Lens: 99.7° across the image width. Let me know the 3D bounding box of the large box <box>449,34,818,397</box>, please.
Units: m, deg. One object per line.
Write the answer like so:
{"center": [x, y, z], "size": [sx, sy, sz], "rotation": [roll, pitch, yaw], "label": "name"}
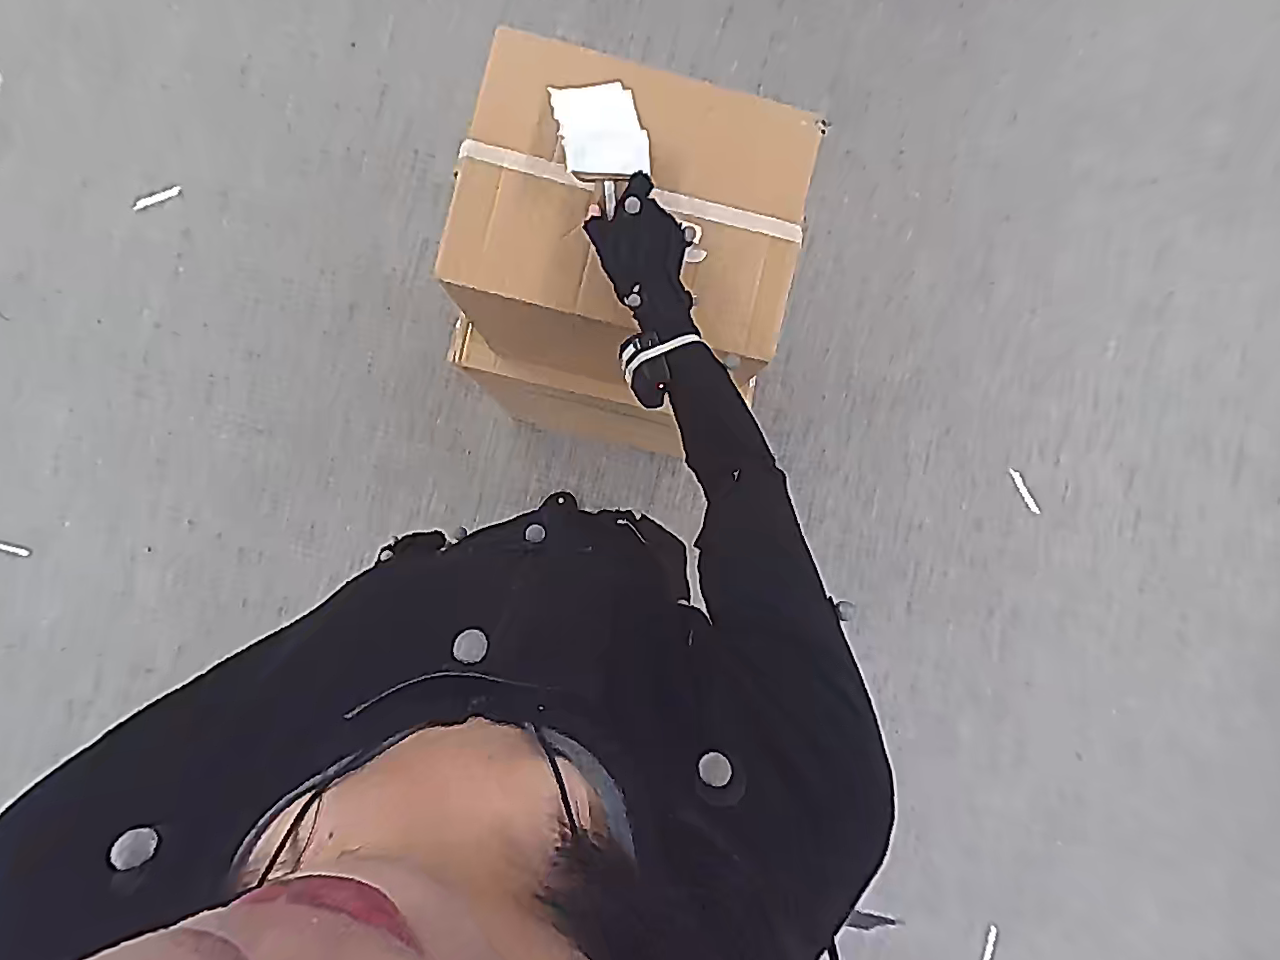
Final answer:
{"center": [-0.014, -0.340, 0.798], "size": [0.408, 0.320, 0.320], "rotation": [13, 87, -4], "label": "large box"}
